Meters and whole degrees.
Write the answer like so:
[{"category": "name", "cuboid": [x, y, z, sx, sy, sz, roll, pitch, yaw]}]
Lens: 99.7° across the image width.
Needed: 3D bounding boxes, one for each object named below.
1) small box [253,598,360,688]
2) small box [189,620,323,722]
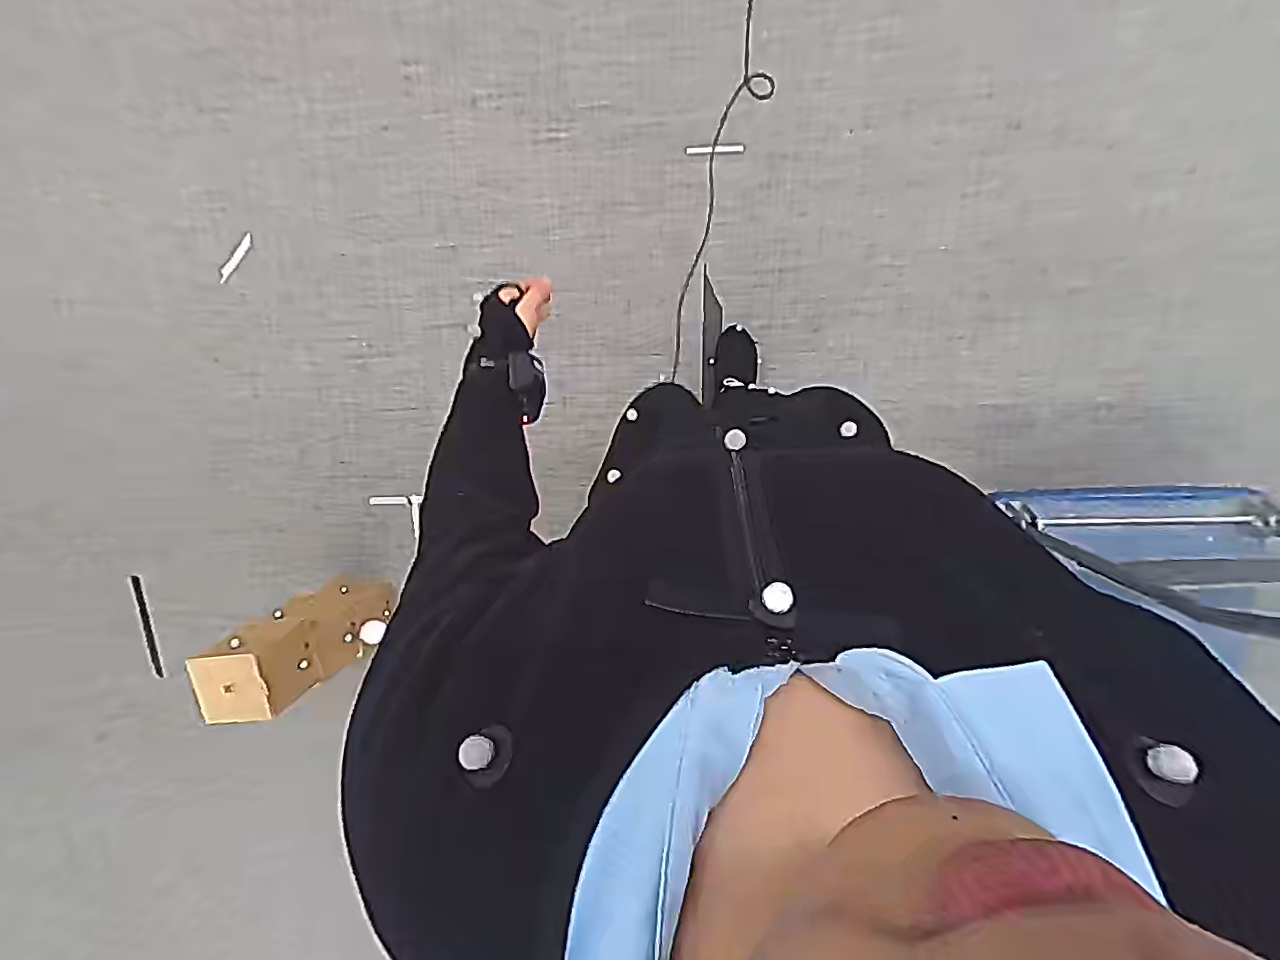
[{"category": "small box", "cuboid": [-0.885, 0.428, 1.447, 0.179, 0.176, 0.168, 4, 104, 5]}, {"category": "small box", "cuboid": [-0.904, 0.450, 1.287, 0.179, 0.176, 0.168, -7, 101, 7]}]
